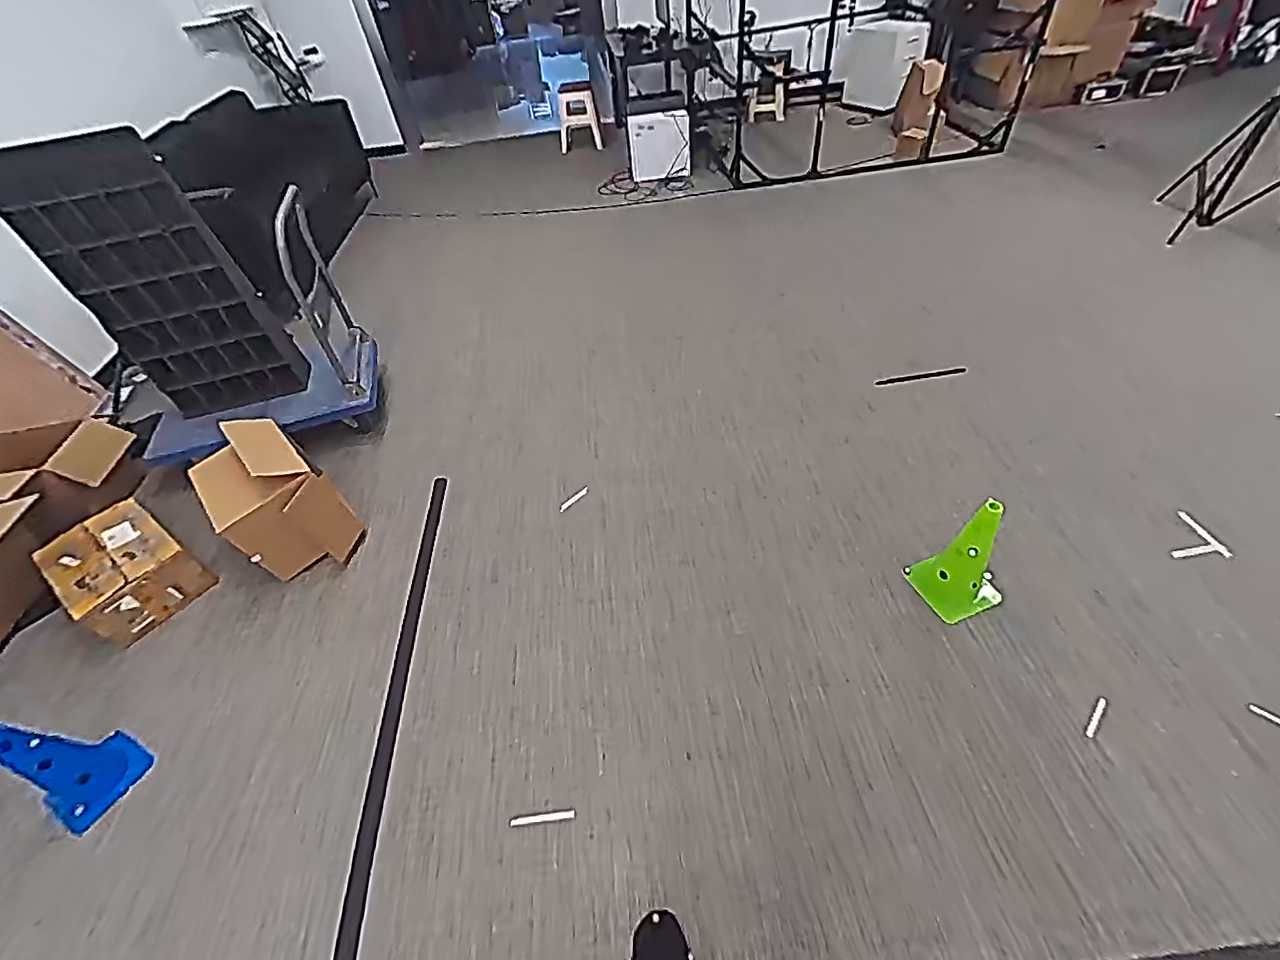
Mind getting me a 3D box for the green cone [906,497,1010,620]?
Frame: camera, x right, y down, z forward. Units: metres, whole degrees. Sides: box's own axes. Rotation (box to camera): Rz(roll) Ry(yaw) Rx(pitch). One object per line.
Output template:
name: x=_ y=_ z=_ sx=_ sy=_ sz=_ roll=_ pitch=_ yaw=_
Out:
green cone: x=0.902 y=0.185 z=1.458 sx=0.202 sy=0.368 sz=0.200 roll=-19 pitch=47 yaw=-12
